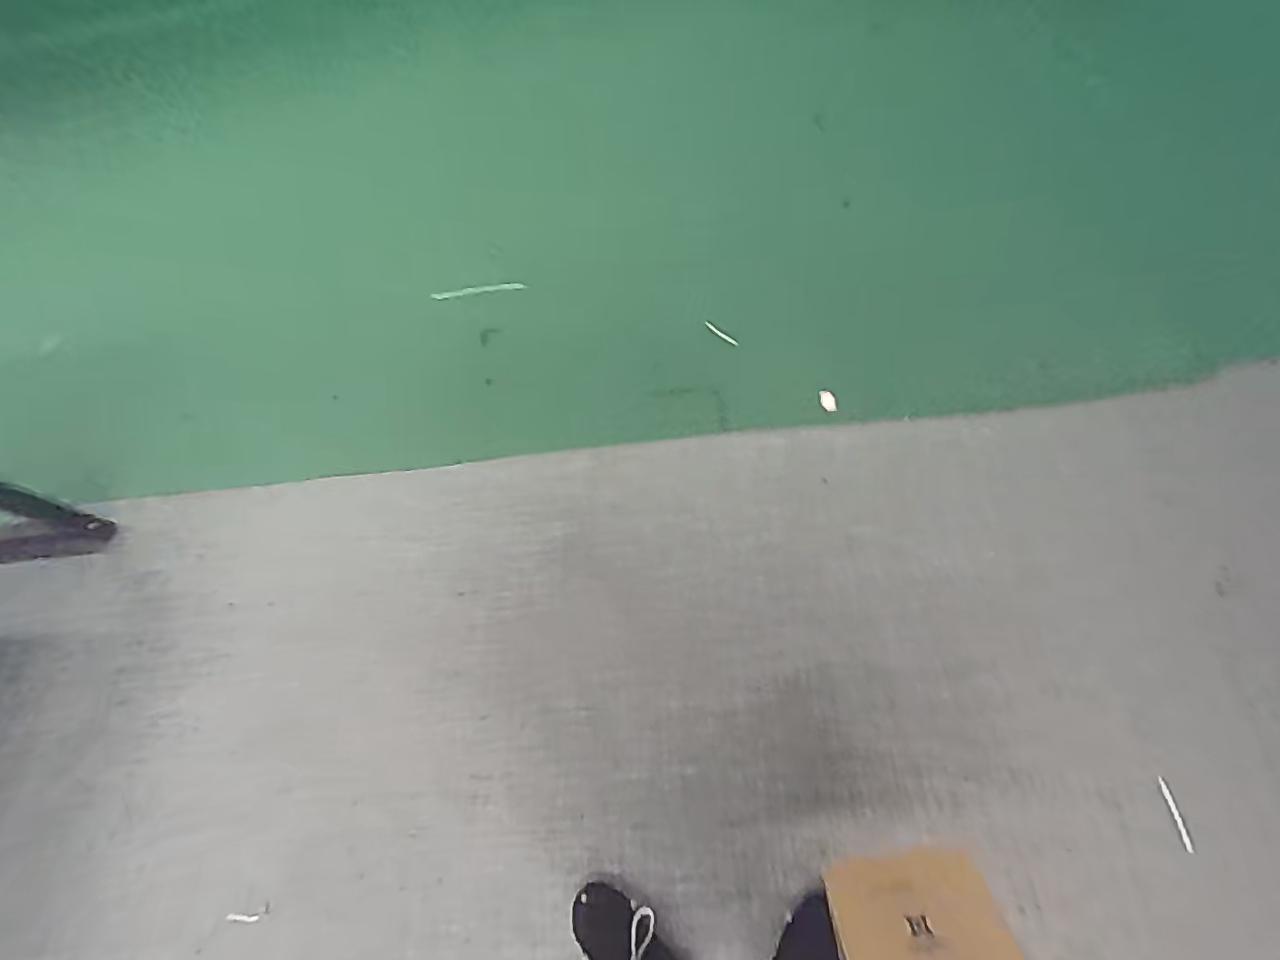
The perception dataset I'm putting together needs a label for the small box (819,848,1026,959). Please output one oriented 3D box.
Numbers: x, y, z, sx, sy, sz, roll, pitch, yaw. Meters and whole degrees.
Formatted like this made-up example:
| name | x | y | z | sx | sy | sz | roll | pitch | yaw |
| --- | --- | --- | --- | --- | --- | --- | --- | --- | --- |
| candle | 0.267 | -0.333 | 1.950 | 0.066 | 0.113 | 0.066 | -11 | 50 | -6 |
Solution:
| name | x | y | z | sx | sy | sz | roll | pitch | yaw |
| --- | --- | --- | --- | --- | --- | --- | --- | --- | --- |
| small box | 0.299 | 0.530 | 0.556 | 0.168 | 0.179 | 0.176 | -11 | 102 | 6 |
